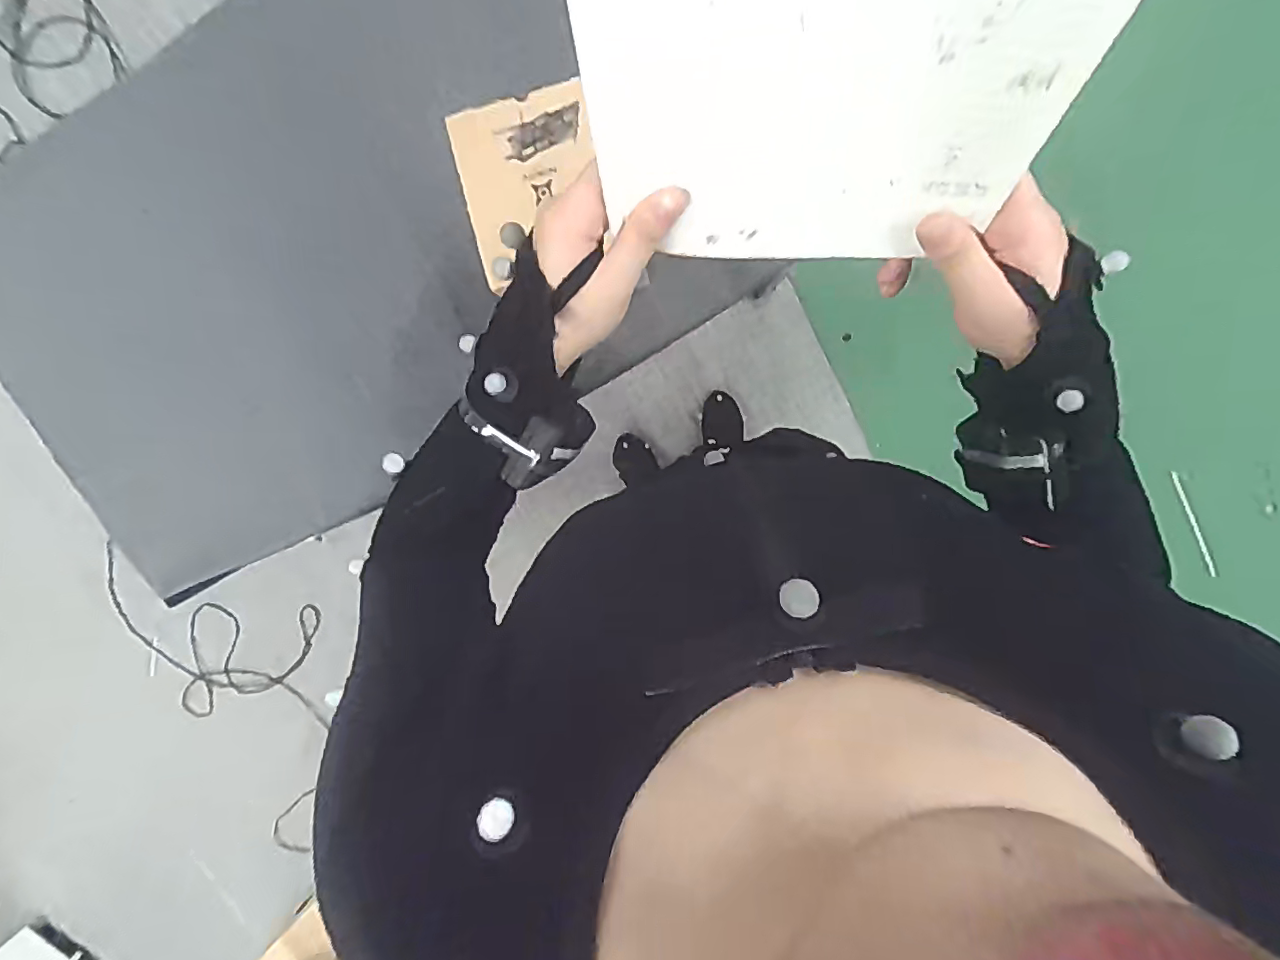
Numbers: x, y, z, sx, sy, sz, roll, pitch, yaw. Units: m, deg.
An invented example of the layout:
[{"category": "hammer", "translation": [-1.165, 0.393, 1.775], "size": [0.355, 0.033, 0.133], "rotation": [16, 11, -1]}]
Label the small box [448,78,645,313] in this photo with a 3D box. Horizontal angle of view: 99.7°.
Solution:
[{"category": "small box", "translation": [-0.095, -0.311, 0.633], "size": [0.168, 0.176, 0.179], "rotation": [-13, 98, 7]}]
